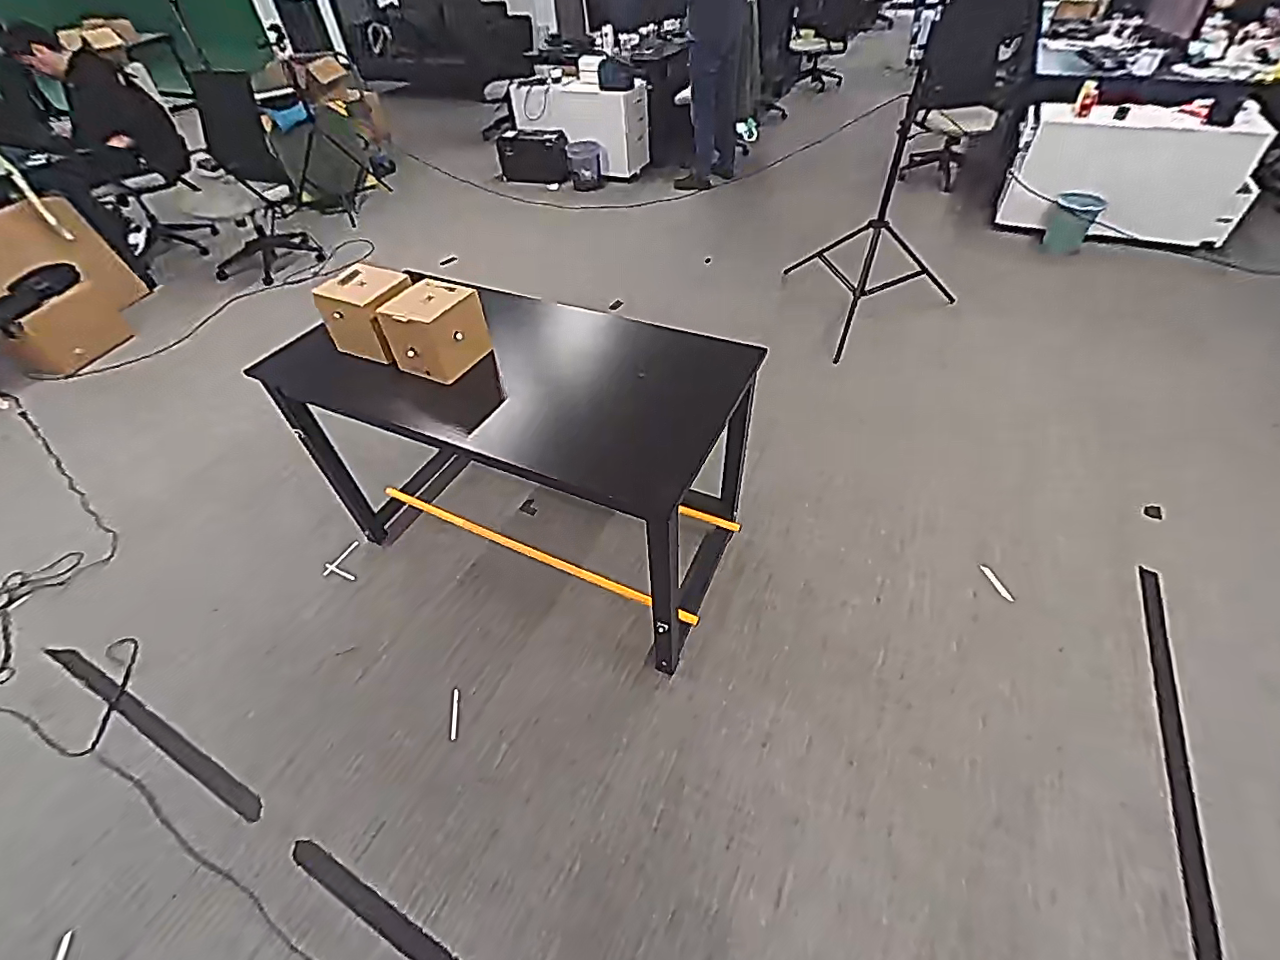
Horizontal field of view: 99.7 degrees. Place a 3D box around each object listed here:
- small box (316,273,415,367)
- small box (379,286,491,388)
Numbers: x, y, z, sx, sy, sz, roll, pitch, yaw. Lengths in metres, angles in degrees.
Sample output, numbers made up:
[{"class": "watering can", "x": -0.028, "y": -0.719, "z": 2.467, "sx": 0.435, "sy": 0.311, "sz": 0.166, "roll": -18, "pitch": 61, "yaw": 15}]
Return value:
[{"class": "small box", "x": -0.691, "y": -0.416, "z": 1.415, "sx": 0.179, "sy": 0.176, "sz": 0.168, "roll": 17, "pitch": 50, "yaw": 18}, {"class": "small box", "x": -0.498, "y": -0.353, "z": 1.343, "sx": 0.168, "sy": 0.176, "sz": 0.179, "roll": 18, "pitch": 51, "yaw": 20}]
